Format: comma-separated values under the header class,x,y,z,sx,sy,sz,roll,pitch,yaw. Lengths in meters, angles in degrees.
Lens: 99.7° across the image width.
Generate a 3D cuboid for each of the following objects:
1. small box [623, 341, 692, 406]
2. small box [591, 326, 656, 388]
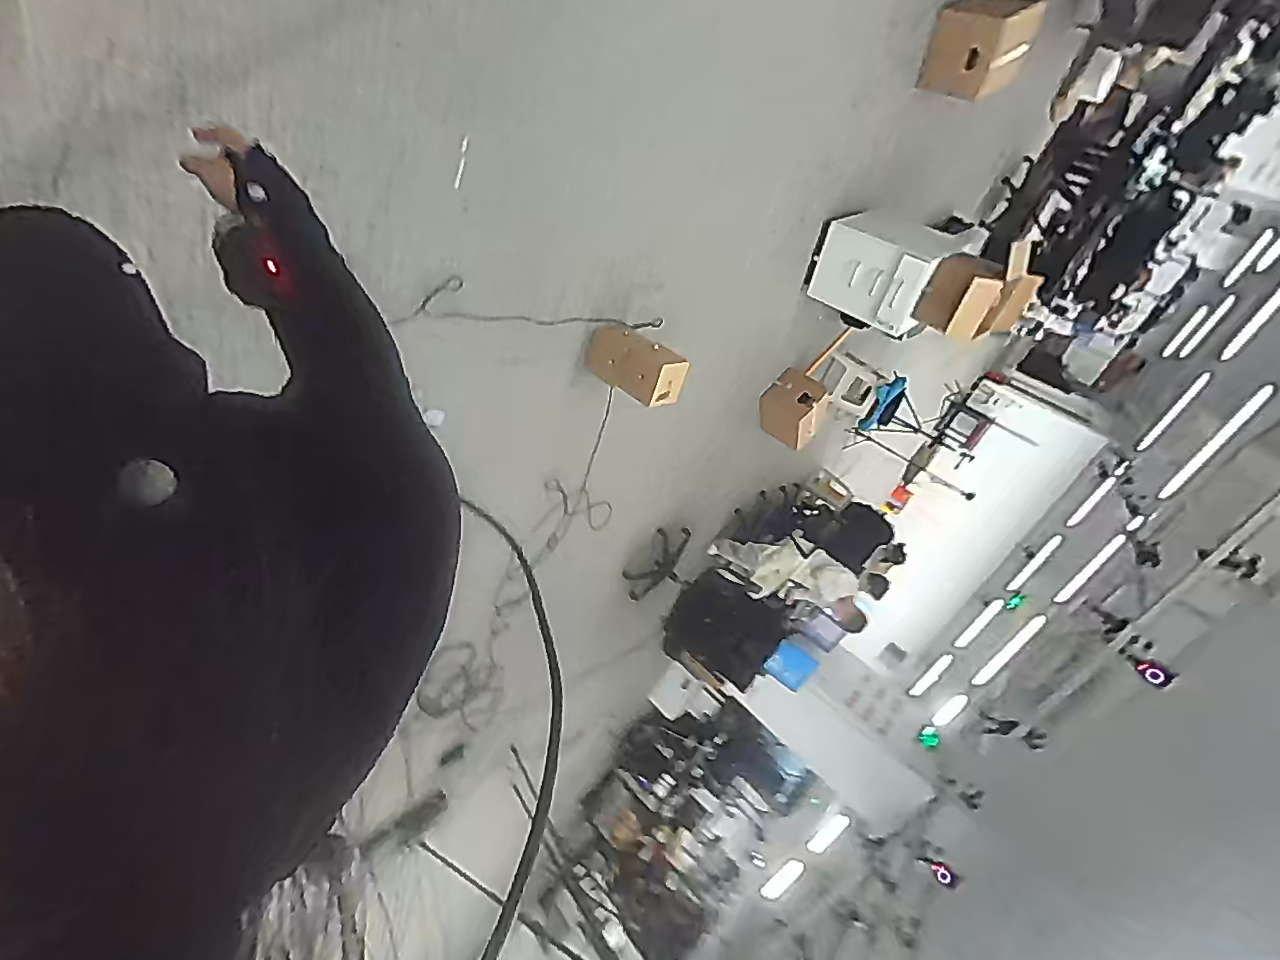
class,x,y,z,sx,sy,sz,roll,pitch,yaw
small box,0.060,-0.398,2.007,0.168,0.176,0.179,-20,138,-46
small box,-0.068,-0.479,2.071,0.168,0.176,0.179,-23,141,-43
